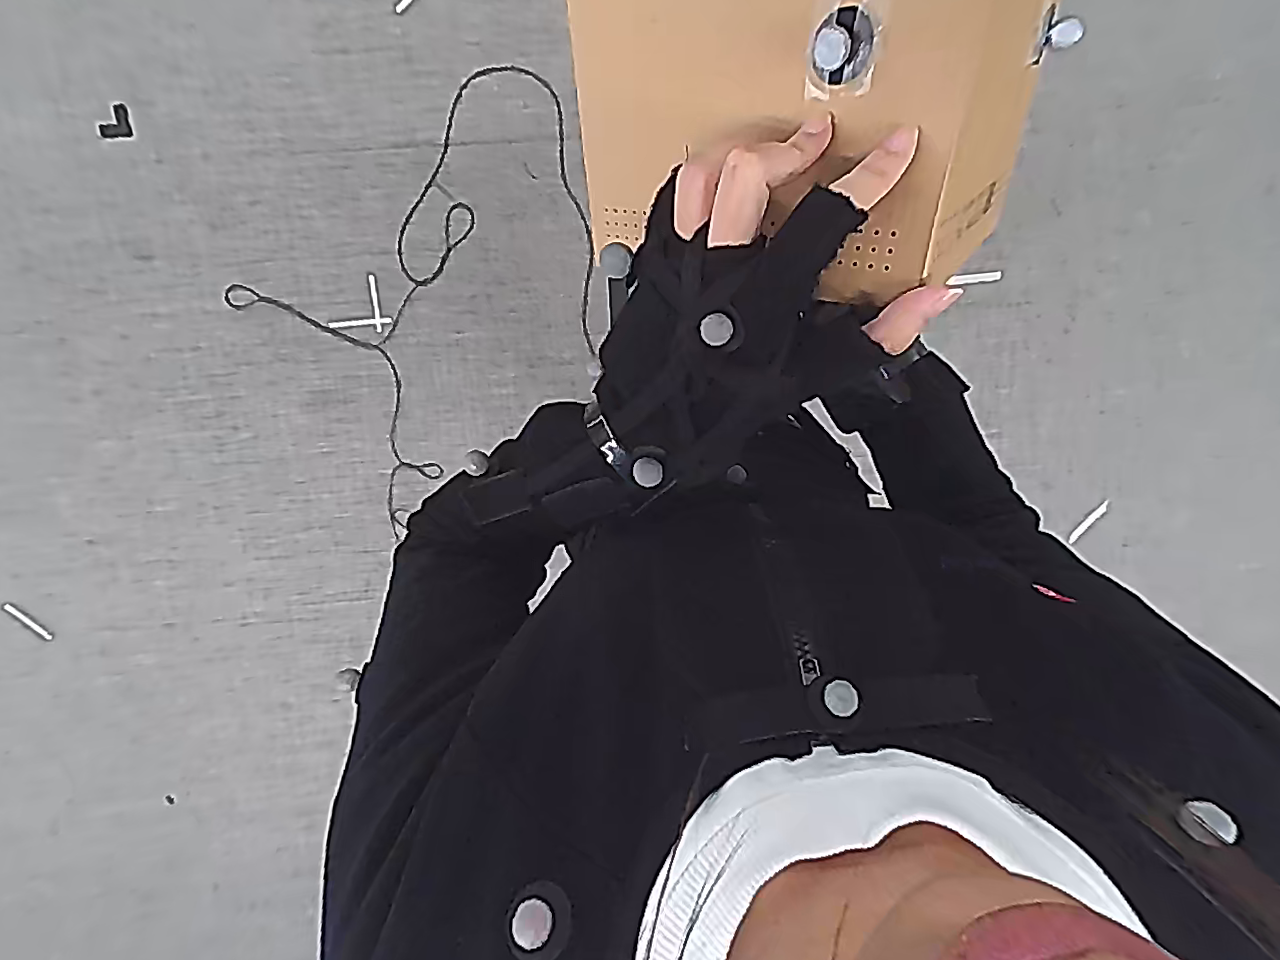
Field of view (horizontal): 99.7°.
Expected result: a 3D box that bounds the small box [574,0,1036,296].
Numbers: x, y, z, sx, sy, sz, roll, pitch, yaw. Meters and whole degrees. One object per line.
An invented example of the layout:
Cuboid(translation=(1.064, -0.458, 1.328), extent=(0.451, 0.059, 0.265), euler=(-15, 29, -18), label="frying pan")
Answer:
Cuboid(translation=(0.088, -0.207, 0.283), extent=(0.179, 0.168, 0.176), euler=(22, 134, 32), label="small box")
